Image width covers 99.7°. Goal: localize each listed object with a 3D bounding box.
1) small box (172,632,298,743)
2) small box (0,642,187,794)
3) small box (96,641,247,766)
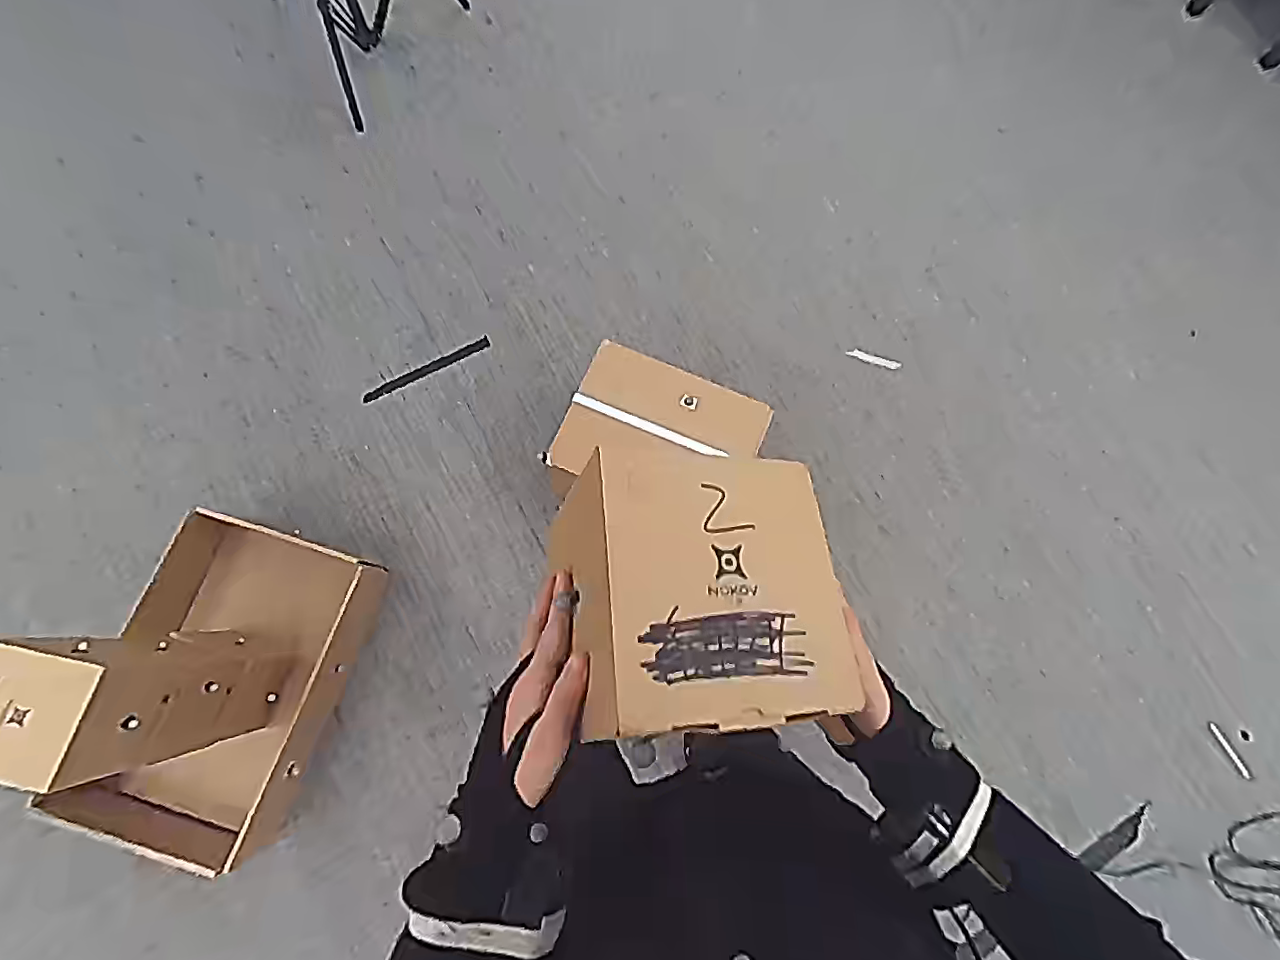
[{"bbox_3d":[-0.871,0.424,1.130,0.179,0.176,0.168,18,75,0],"label":"small box"},{"bbox_3d":[-0.849,0.344,0.813,0.179,0.176,0.168,13,73,-1],"label":"small box"},{"bbox_3d":[-0.864,0.389,0.972,0.179,0.176,0.168,13,74,0],"label":"small box"}]
